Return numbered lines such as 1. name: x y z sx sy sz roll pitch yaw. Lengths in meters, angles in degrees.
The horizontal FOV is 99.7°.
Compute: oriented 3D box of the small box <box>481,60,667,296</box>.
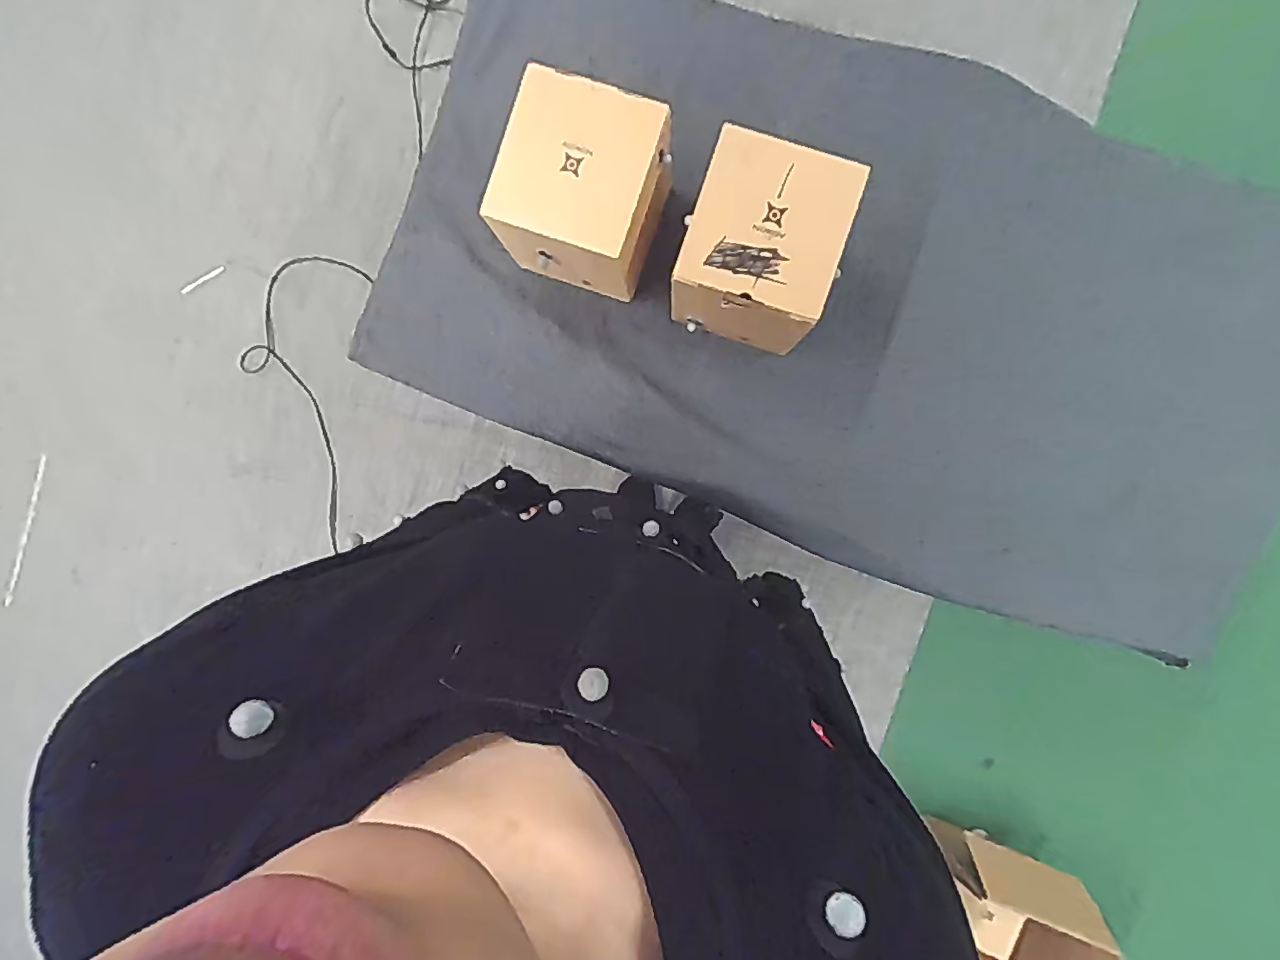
1. small box: -0.067 -0.350 0.664 0.168 0.176 0.179 19 92 2
